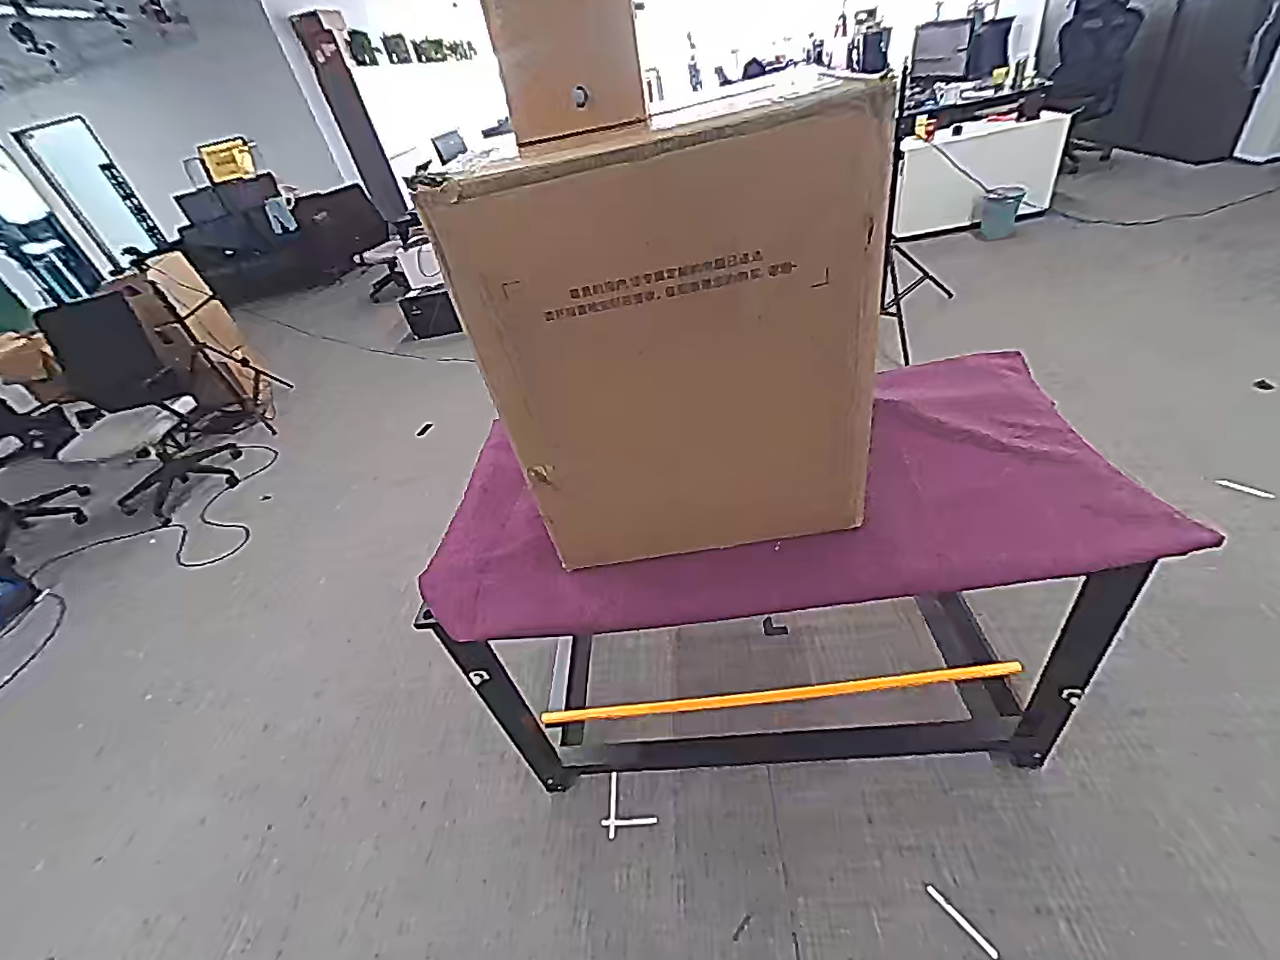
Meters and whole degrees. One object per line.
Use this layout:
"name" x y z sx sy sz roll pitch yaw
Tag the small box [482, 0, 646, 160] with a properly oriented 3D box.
"small box" -0.091 -0.542 0.709 0.179 0.176 0.168 -7 39 8
